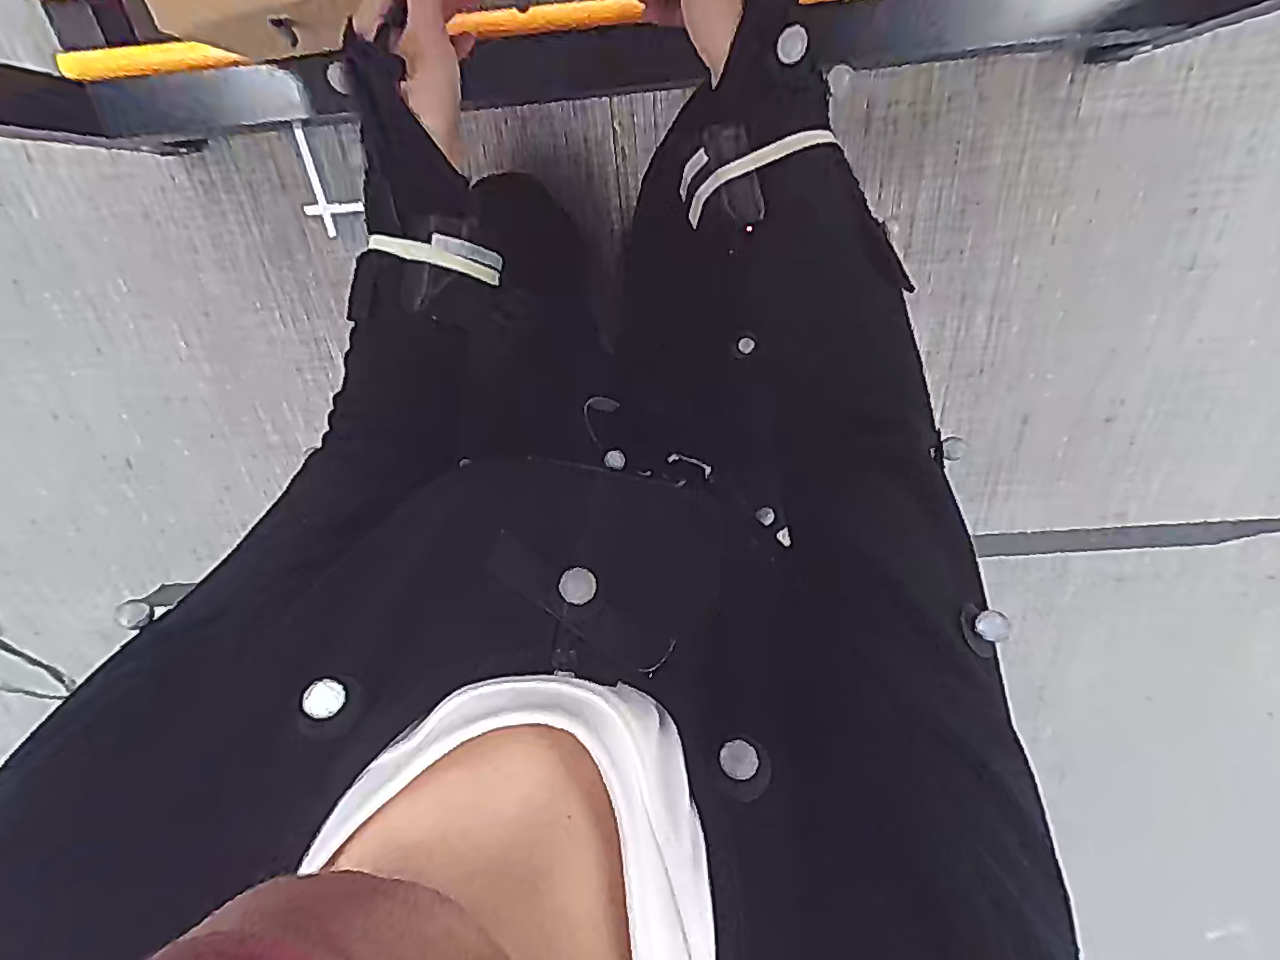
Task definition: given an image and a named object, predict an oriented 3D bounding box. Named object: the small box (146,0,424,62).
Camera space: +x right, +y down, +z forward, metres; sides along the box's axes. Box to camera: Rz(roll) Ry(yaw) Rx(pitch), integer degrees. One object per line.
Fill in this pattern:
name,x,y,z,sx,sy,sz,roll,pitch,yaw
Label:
small box,-0.297,-0.468,0.439,0.179,0.176,0.168,-8,118,4
